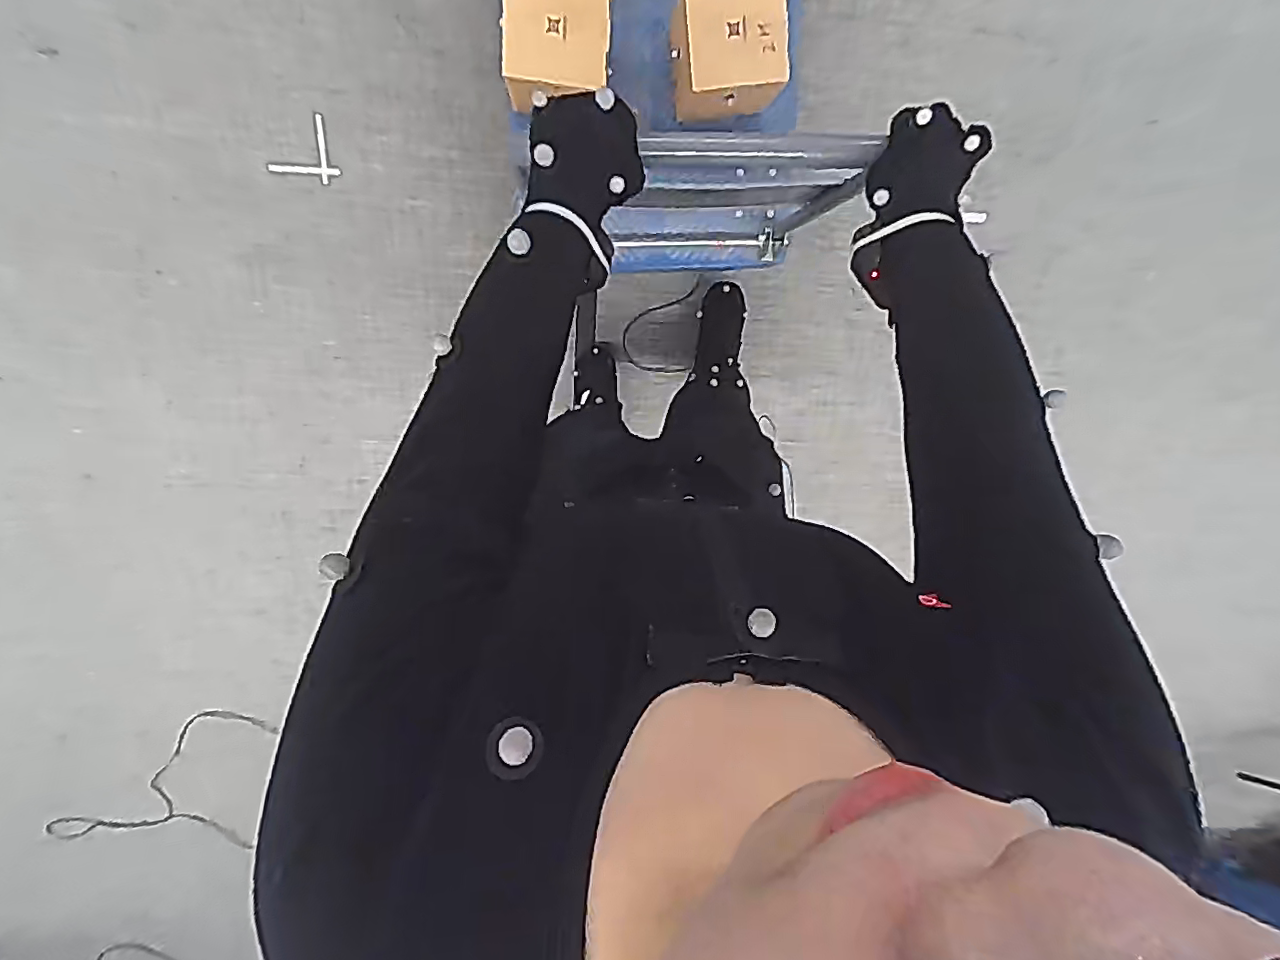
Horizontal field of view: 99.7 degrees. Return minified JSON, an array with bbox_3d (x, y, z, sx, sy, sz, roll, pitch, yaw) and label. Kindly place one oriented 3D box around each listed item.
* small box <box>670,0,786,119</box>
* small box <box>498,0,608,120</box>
[{"bbox_3d":[0.152,-0.781,0.983,0.179,0.176,0.168,-8,109,-3],"label":"small box"},{"bbox_3d":[-0.151,-0.765,0.958,0.179,0.176,0.168,3,107,-8],"label":"small box"}]
